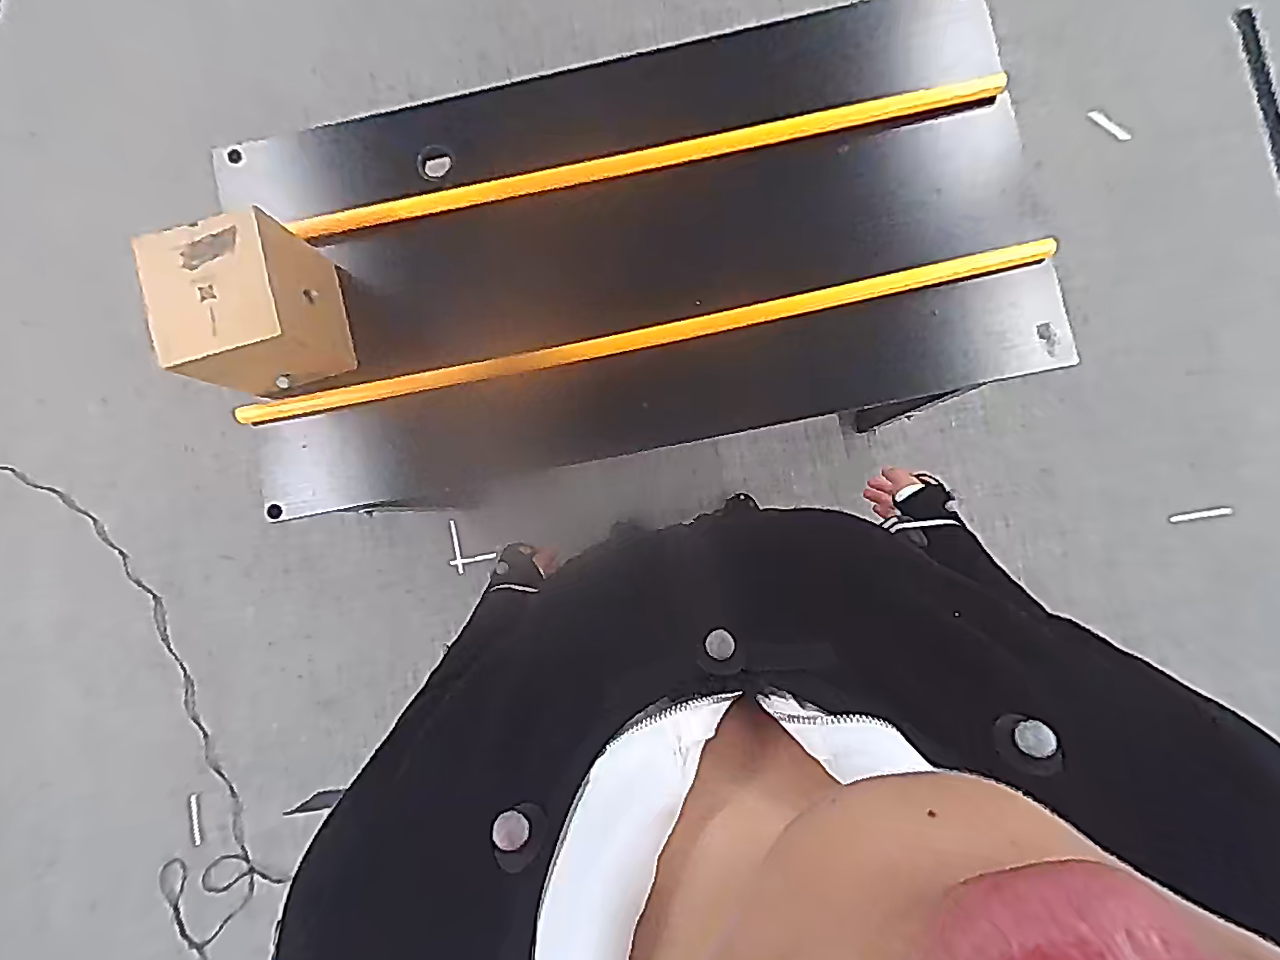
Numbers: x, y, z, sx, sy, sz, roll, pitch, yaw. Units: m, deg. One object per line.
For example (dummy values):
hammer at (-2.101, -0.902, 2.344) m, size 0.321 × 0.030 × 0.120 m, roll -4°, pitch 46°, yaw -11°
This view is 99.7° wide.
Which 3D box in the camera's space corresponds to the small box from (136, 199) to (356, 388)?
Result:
small box at (-0.532, -0.246, 0.753) m, size 0.168 × 0.176 × 0.179 m, roll -15°, pitch 87°, yaw 2°
